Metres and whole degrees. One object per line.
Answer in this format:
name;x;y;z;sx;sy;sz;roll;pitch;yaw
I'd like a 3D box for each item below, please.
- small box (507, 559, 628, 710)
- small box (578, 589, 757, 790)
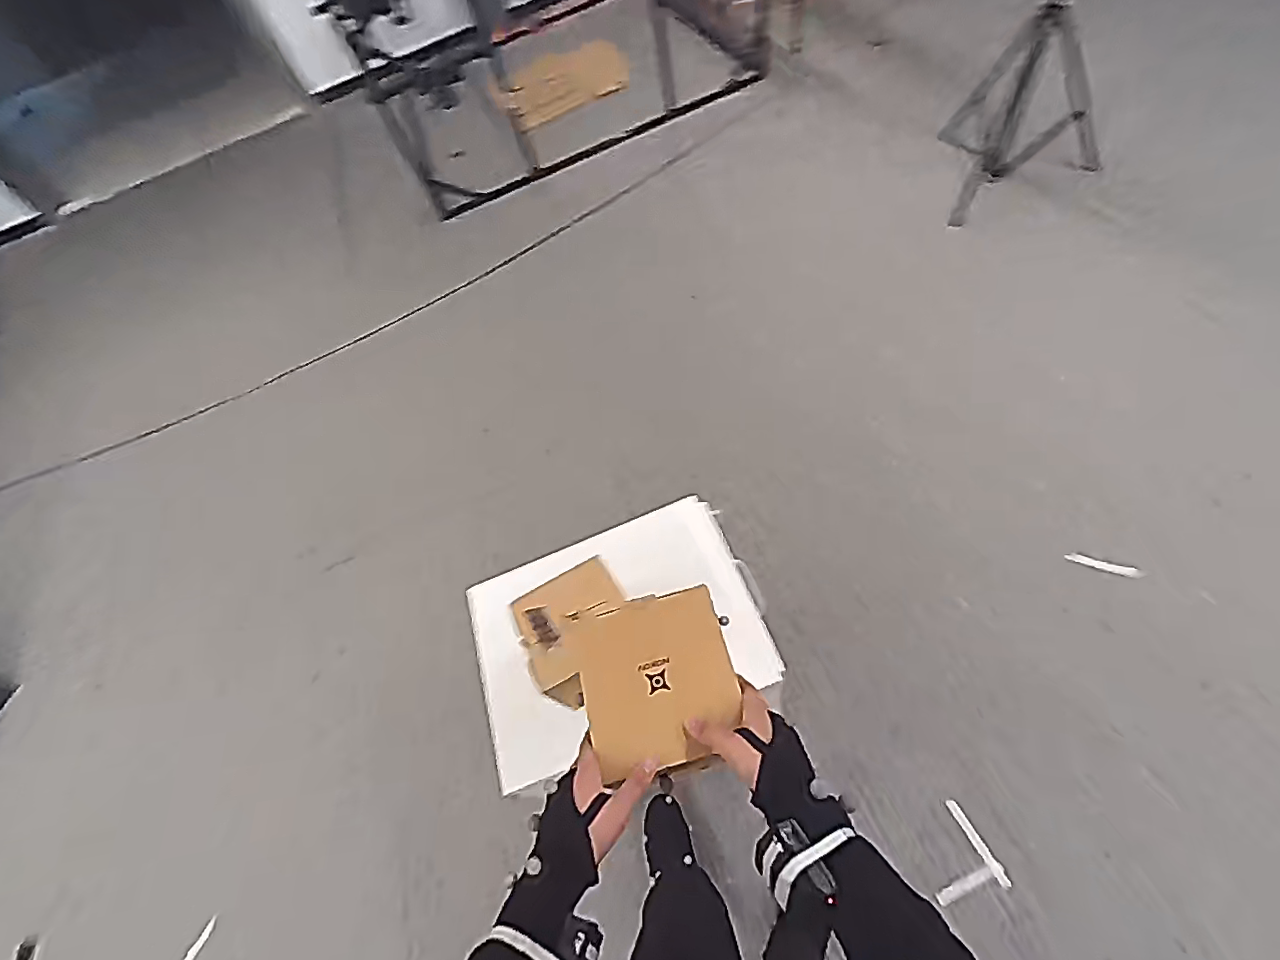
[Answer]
small box;-0.099;0.274;0.937;0.179;0.176;0.168;-28;57;-5
small box;0.034;0.259;0.650;0.168;0.176;0.179;-15;55;-1
